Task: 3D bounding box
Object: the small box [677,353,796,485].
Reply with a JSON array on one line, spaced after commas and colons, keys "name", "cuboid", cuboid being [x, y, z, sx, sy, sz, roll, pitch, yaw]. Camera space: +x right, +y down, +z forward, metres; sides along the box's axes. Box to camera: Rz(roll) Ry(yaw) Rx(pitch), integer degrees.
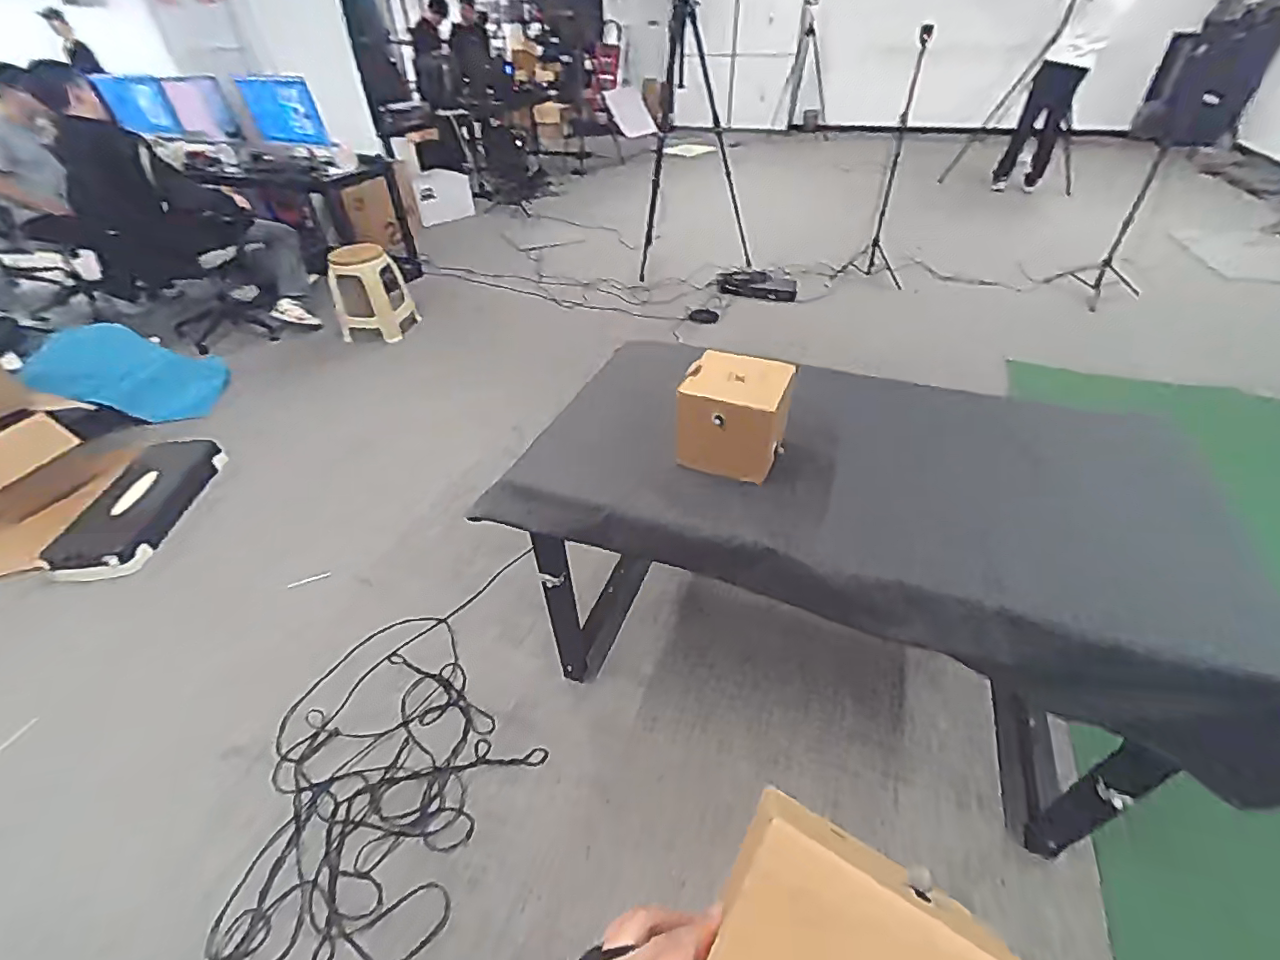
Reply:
[{"name": "small box", "cuboid": [0.176, -0.114, 1.016, 0.179, 0.176, 0.168, 16, 44, 18]}]
